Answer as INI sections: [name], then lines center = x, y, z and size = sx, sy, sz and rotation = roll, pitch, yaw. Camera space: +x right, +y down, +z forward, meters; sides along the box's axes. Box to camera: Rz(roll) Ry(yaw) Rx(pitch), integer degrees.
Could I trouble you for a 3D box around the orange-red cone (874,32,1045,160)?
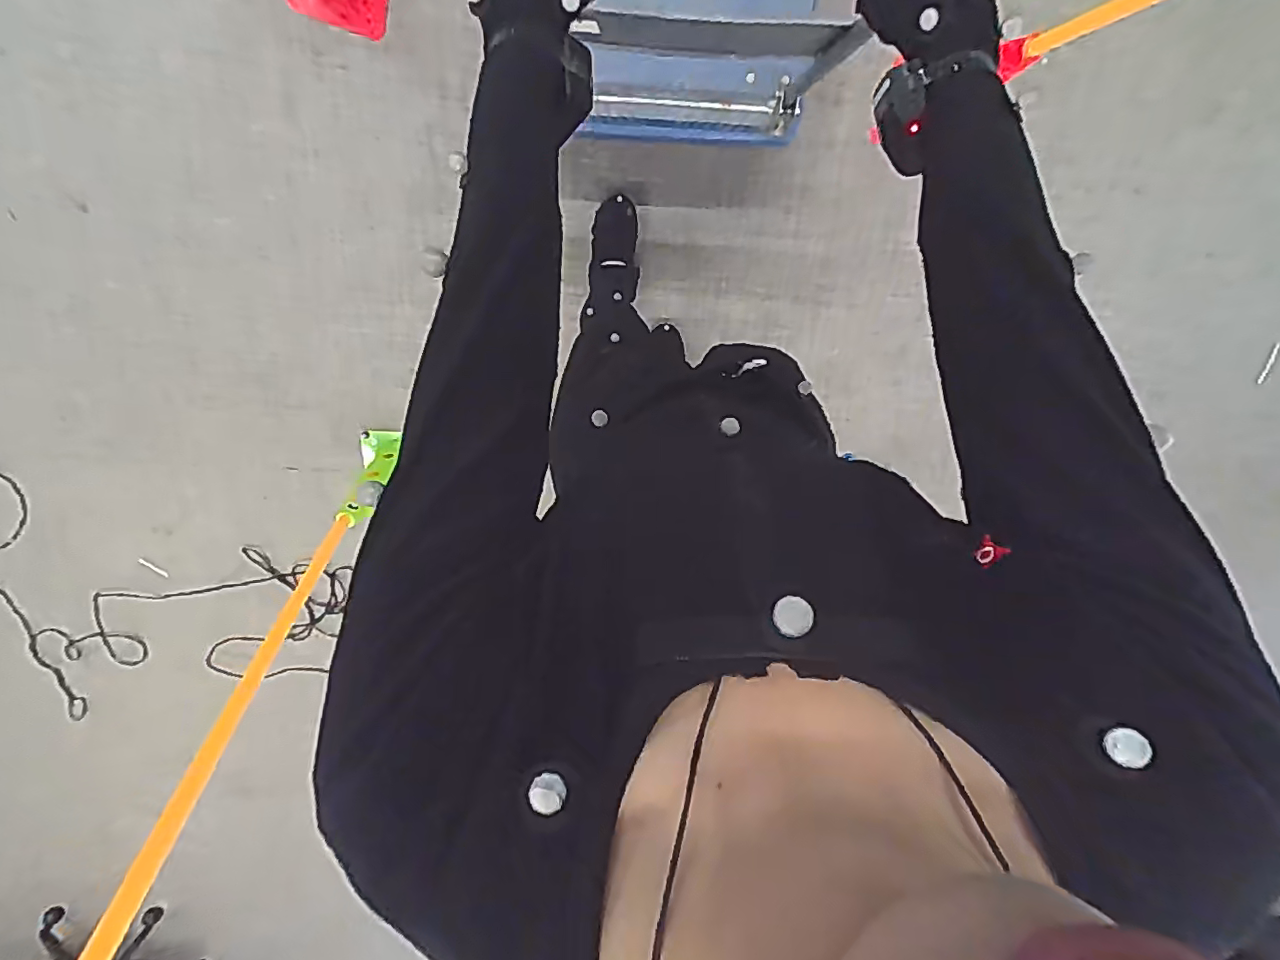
[orange-red cone]
center = 0.663, -0.799, 1.078
size = 0.198, 0.360, 0.199
rotation = 13, 111, -7
